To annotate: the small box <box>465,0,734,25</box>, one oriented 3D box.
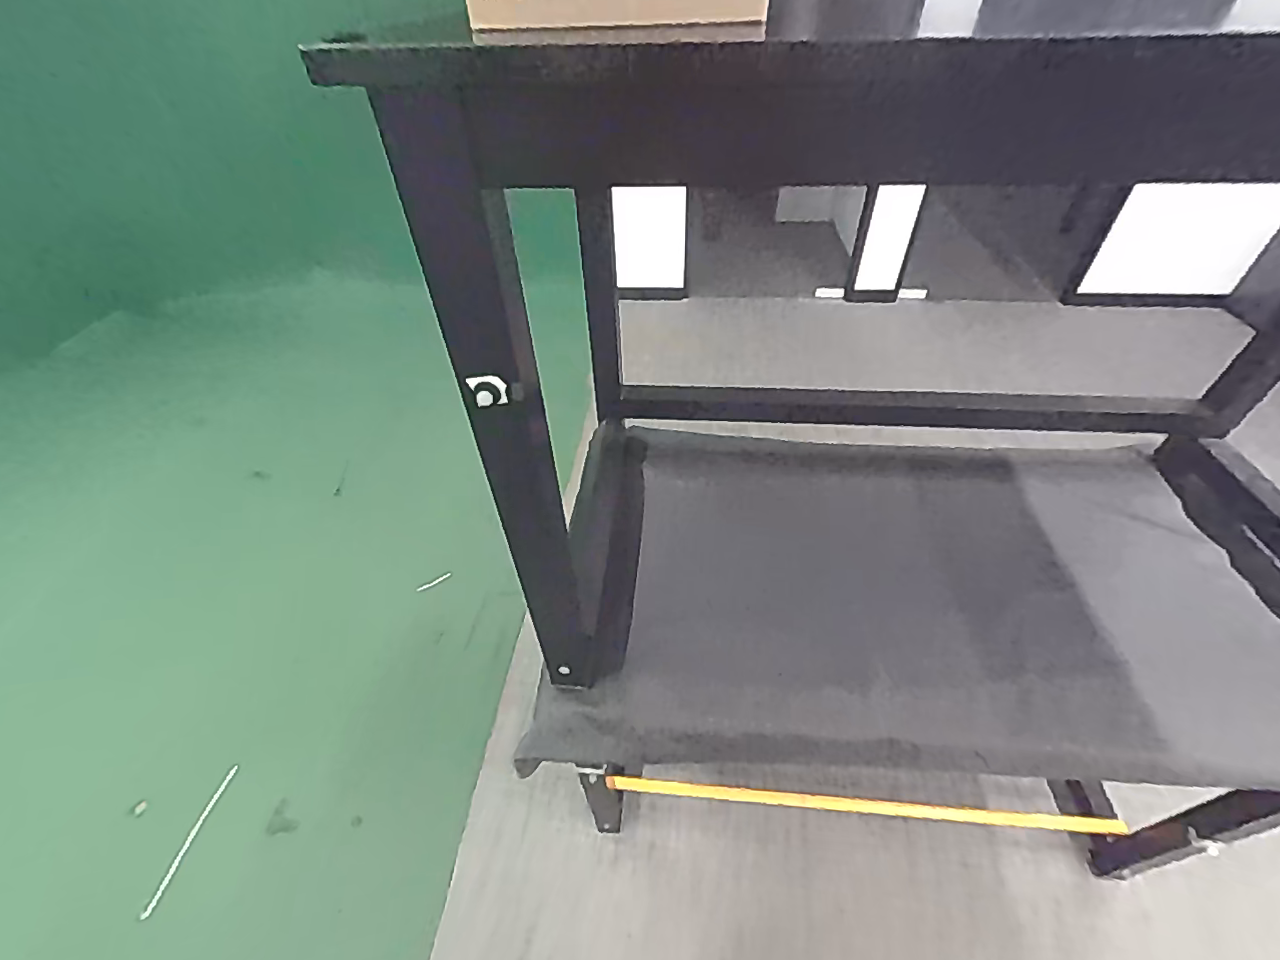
[{"bbox_3d":[-0.027,-0.382,0.319,0.168,0.176,0.179,-2,43,-1],"label":"small box"}]
